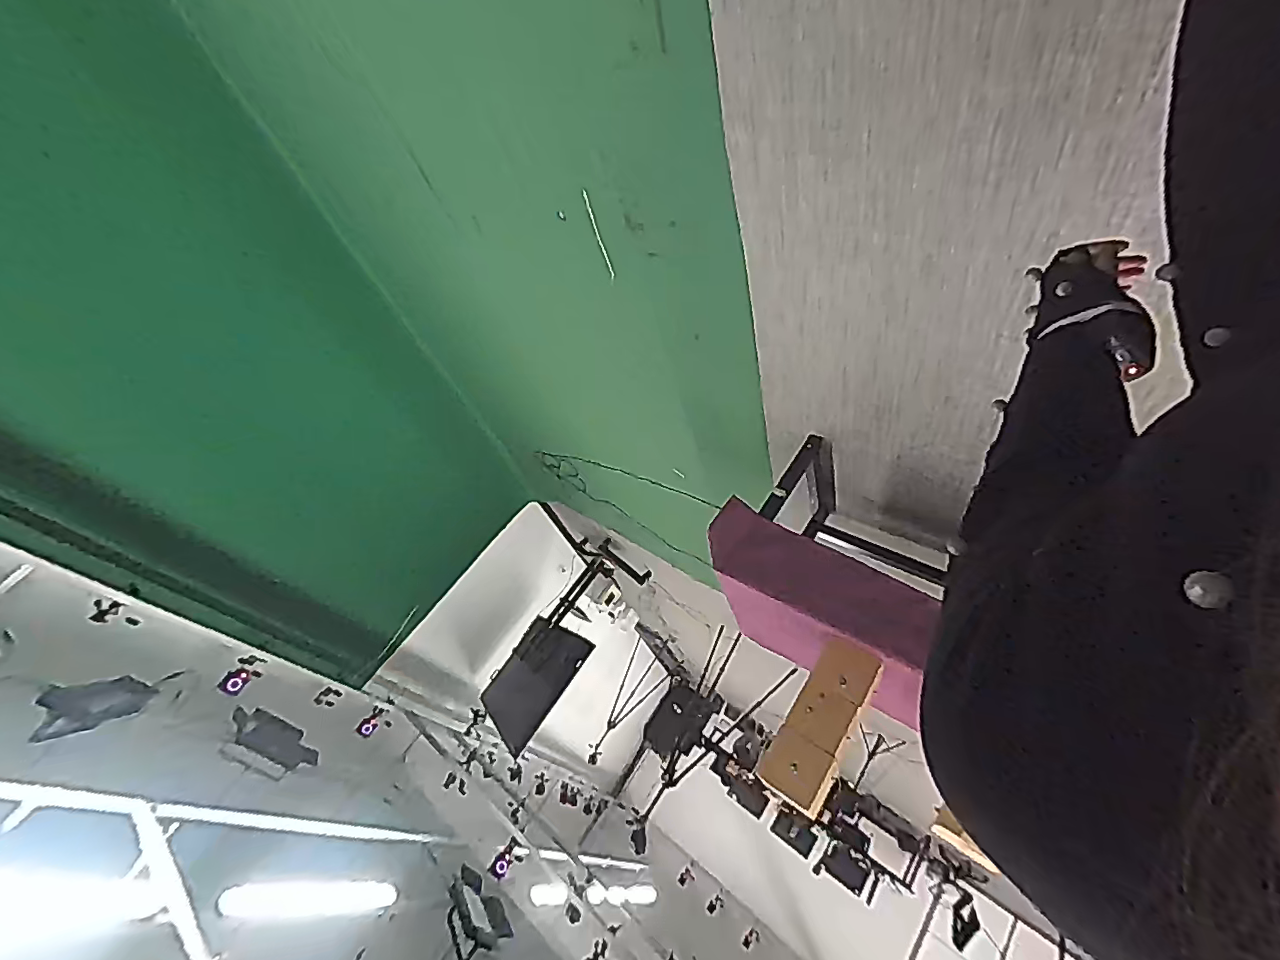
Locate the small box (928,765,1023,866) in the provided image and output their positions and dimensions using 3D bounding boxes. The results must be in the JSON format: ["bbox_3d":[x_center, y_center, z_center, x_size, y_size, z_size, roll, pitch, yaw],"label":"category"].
[{"bbox_3d":[0.901,0.899,1.457,0.168,0.176,0.179,24,157,35],"label":"small box"}]

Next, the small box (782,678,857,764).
[{"bbox_3d":[0.568,0.754,1.702,0.168,0.176,0.179,24,156,35],"label":"small box"}]

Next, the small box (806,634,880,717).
[{"bbox_3d":[0.661,0.630,1.754,0.179,0.176,0.168,24,155,33],"label":"small box"}]
